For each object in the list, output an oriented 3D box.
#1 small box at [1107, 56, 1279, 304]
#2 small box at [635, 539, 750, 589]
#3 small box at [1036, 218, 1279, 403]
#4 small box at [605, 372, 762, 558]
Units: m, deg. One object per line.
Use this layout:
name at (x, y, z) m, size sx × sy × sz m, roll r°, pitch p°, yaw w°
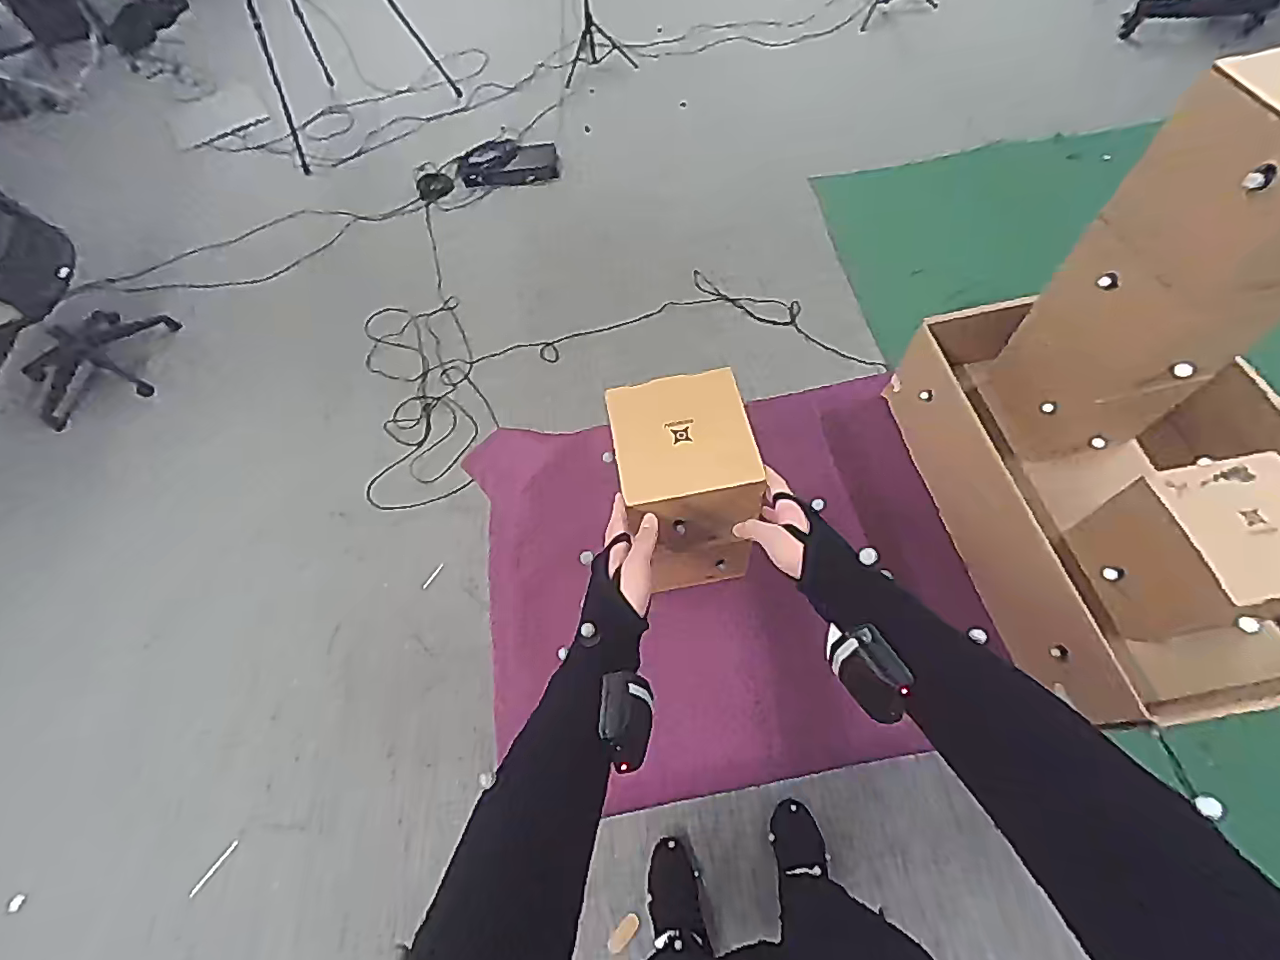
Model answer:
small box at (0.656, -0.305, 0.559) m, size 0.168 × 0.176 × 0.179 m, roll -11°, pitch 61°, yaw 1°
small box at (0.071, 0.064, 0.861) m, size 0.168 × 0.176 × 0.179 m, roll -10°, pitch 60°, yaw 0°
small box at (0.673, -0.230, 0.706) m, size 0.168 × 0.176 × 0.179 m, roll -13°, pitch 62°, yaw 1°
small box at (0.056, -0.010, 0.716) m, size 0.168 × 0.176 × 0.179 m, roll -11°, pitch 58°, yaw 0°
